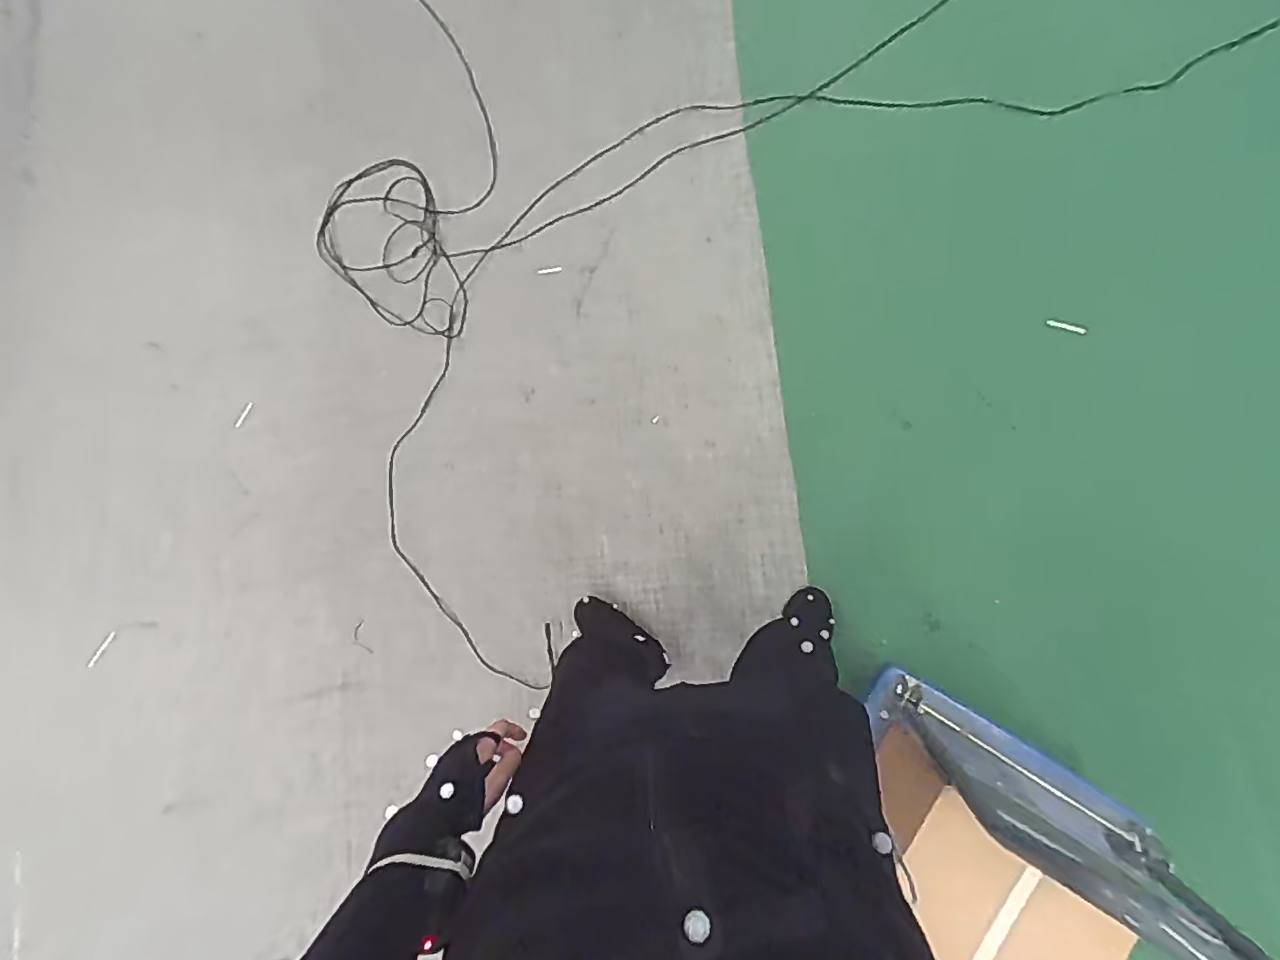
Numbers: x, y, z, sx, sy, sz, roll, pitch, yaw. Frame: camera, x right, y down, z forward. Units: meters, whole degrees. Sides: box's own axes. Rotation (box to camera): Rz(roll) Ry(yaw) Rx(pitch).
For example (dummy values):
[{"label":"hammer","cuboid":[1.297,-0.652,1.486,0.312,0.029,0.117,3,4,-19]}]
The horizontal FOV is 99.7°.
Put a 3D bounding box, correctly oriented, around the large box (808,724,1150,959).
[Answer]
[{"label":"large box","cuboid":[0.547,0.735,0.960,0.320,0.320,0.408,30,90,13]}]
